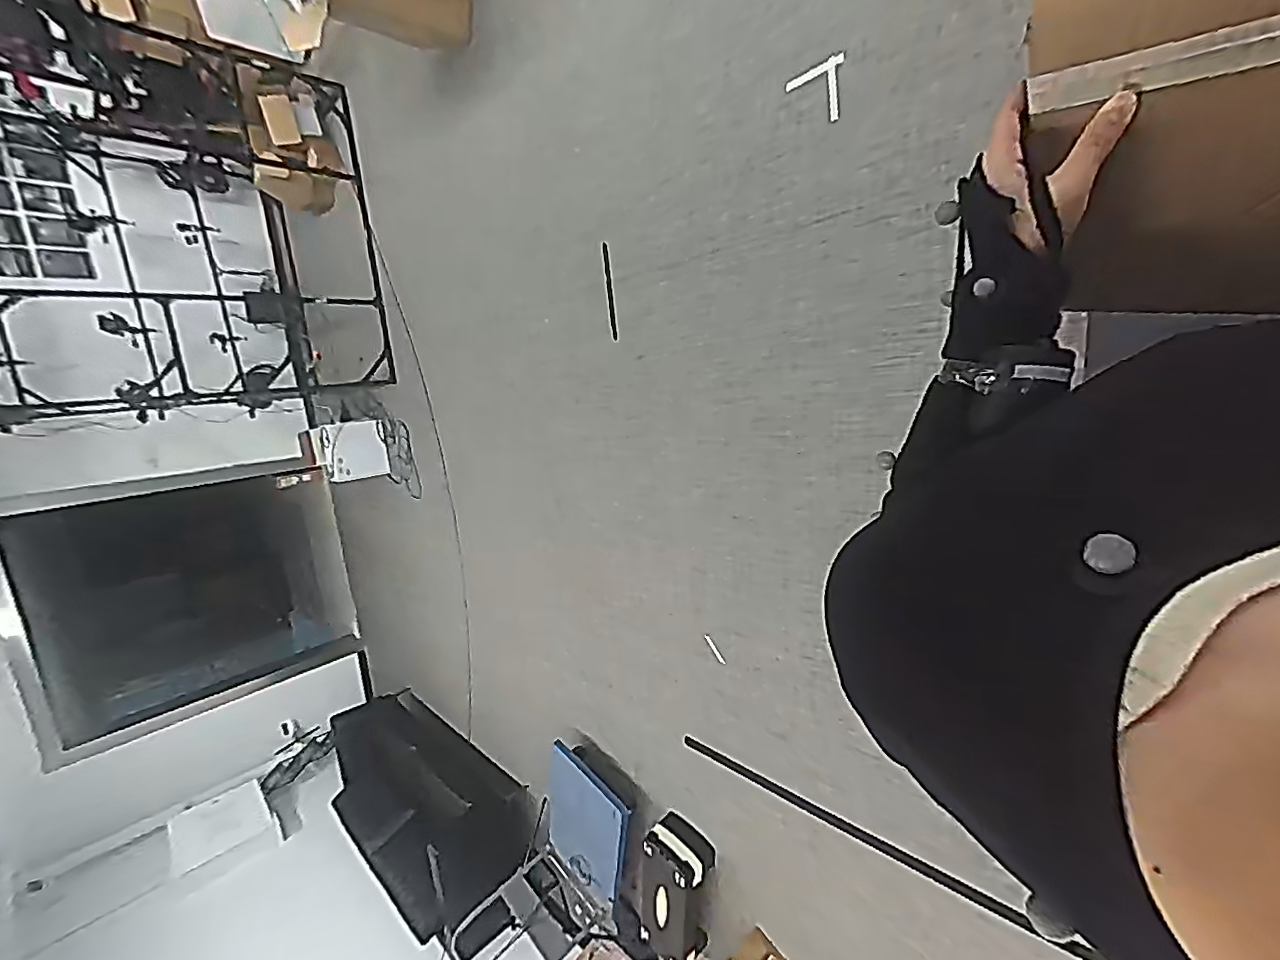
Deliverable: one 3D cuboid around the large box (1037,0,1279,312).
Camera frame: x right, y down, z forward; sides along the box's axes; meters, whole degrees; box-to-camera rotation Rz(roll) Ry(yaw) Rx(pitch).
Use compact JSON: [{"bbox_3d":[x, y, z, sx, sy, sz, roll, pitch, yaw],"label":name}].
[{"bbox_3d":[0.478,-0.303,0.259,0.408,0.320,0.320,18,149,46],"label":"large box"}]
